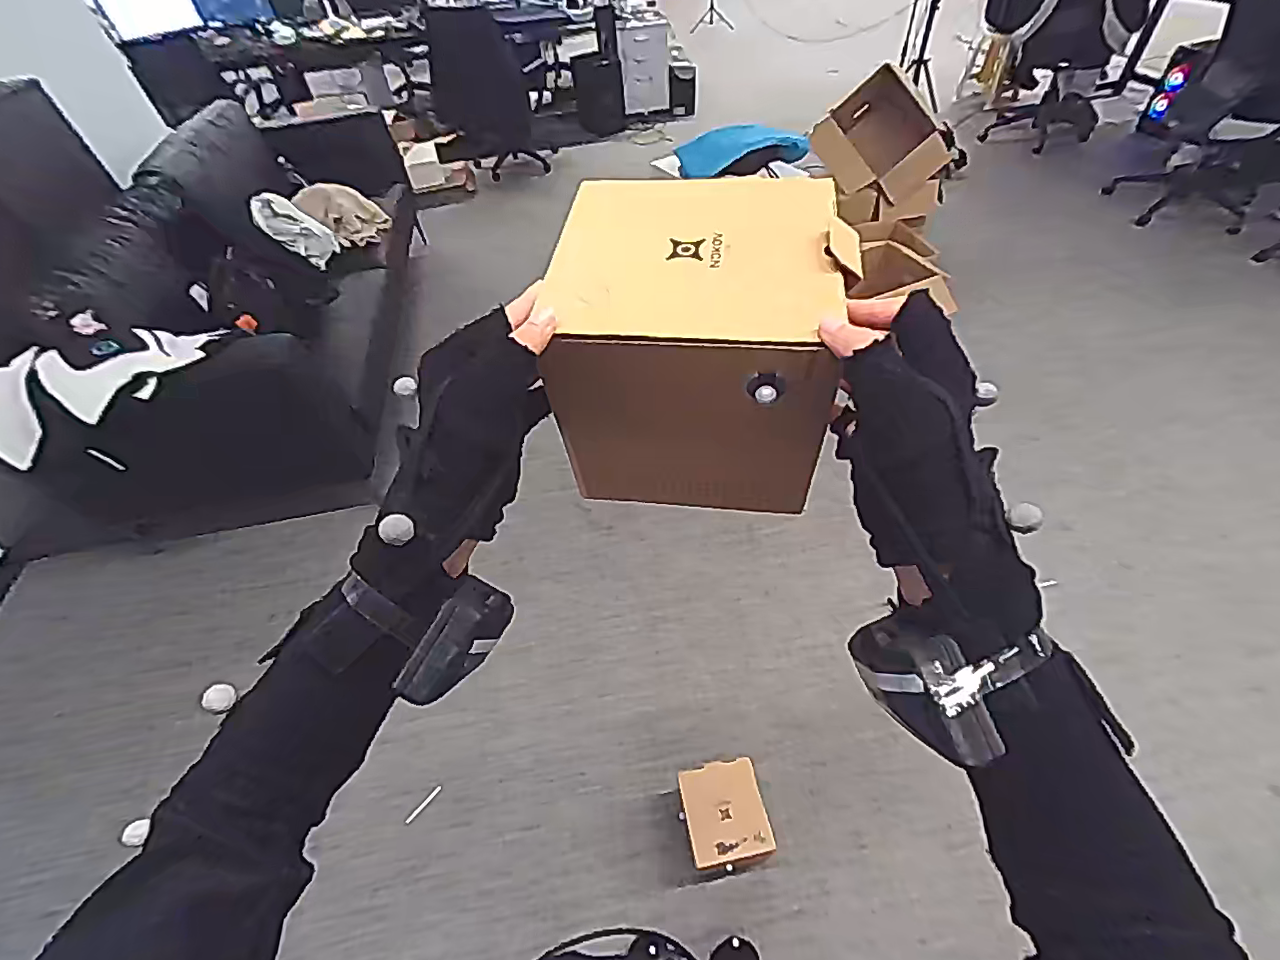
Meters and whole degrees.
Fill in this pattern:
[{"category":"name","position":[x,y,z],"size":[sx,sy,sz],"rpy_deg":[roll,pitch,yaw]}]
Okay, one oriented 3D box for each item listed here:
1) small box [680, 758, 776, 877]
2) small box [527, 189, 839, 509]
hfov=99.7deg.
[{"category":"small box","position":[0.183,0.738,1.180],"size":[0.168,0.176,0.179],"rpy_deg":[-11,48,-3]},{"category":"small box","position":[0.038,-0.091,0.404],"size":[0.179,0.176,0.168],"rpy_deg":[4,55,8]}]
